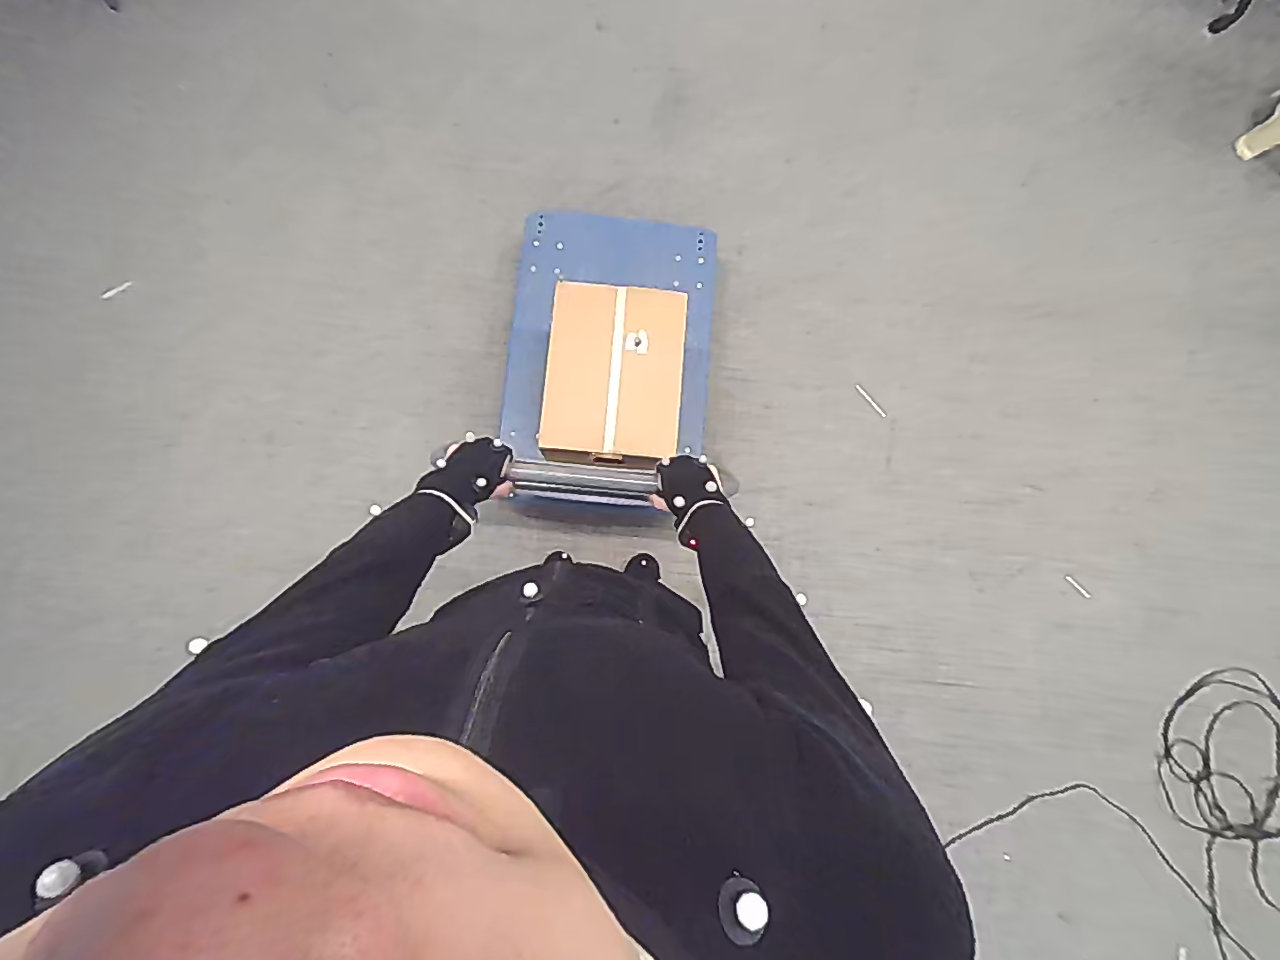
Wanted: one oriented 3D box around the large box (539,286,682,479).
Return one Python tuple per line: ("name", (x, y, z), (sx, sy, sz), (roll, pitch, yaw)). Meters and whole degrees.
("large box", (-0.070, -0.227, 1.389), (0.320, 0.320, 0.408), (5, 80, -3))
